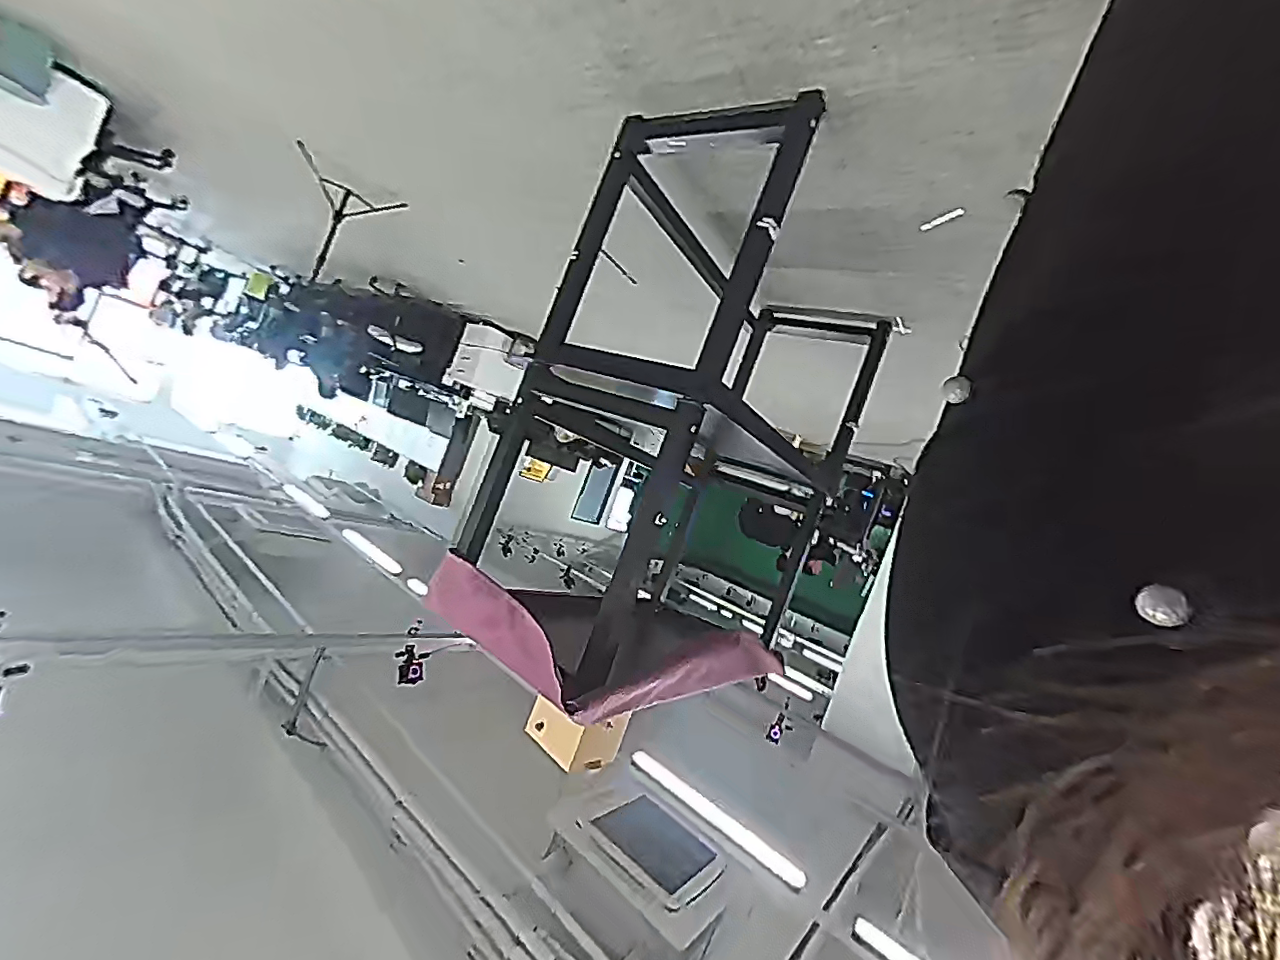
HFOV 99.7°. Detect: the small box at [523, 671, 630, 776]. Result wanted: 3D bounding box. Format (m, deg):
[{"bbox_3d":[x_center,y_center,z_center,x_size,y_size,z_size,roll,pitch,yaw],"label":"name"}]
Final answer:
[{"bbox_3d":[-0.154,0.592,1.342,0.179,0.176,0.168,21,180,41],"label":"small box"}]
